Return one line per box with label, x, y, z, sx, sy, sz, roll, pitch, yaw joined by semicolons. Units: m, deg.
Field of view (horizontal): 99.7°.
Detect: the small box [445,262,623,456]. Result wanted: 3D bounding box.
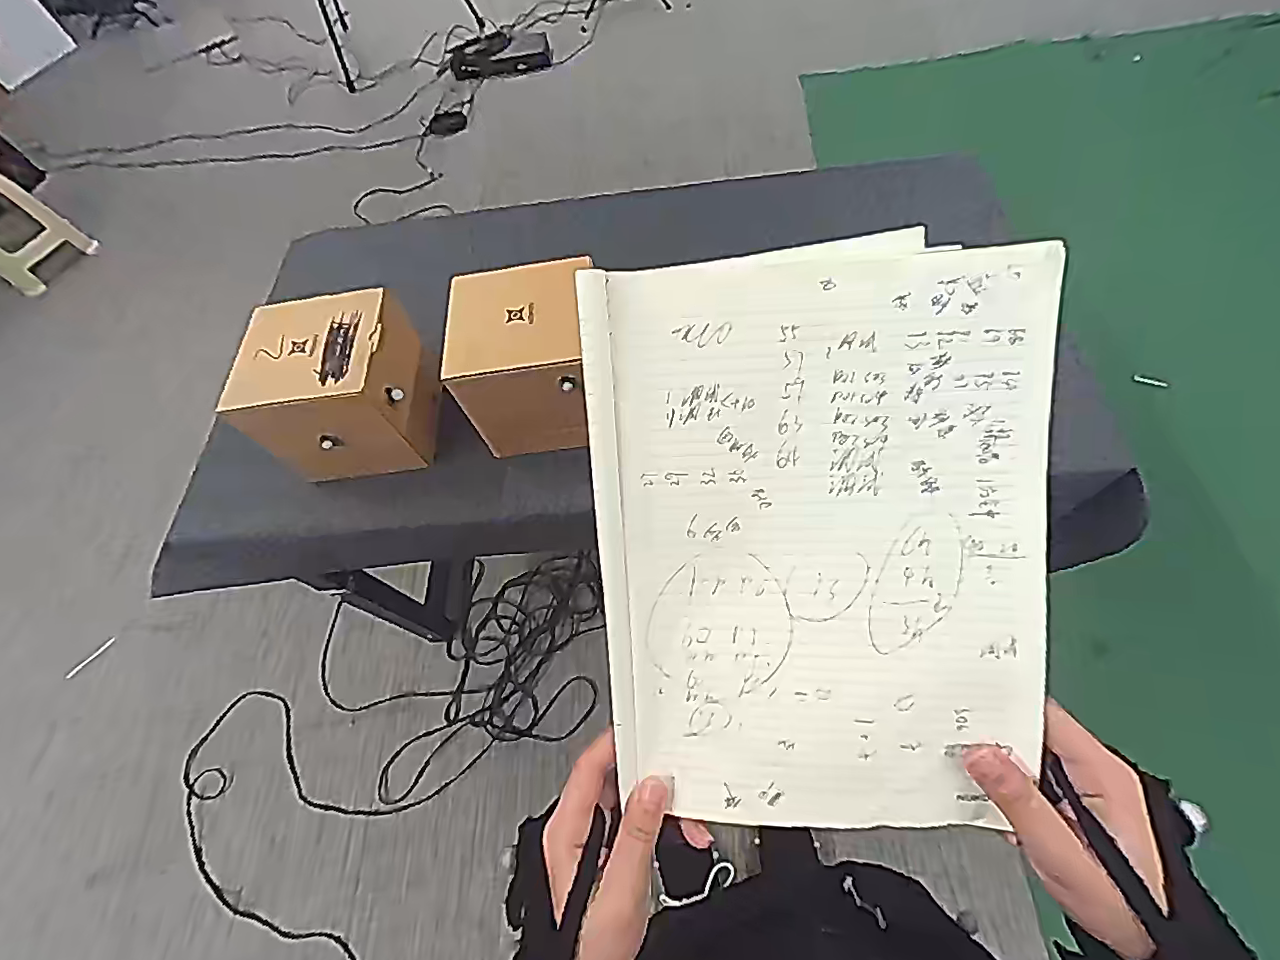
small box;-0.125;-0.146;0.695;0.179;0.176;0.168;-8;60;3
